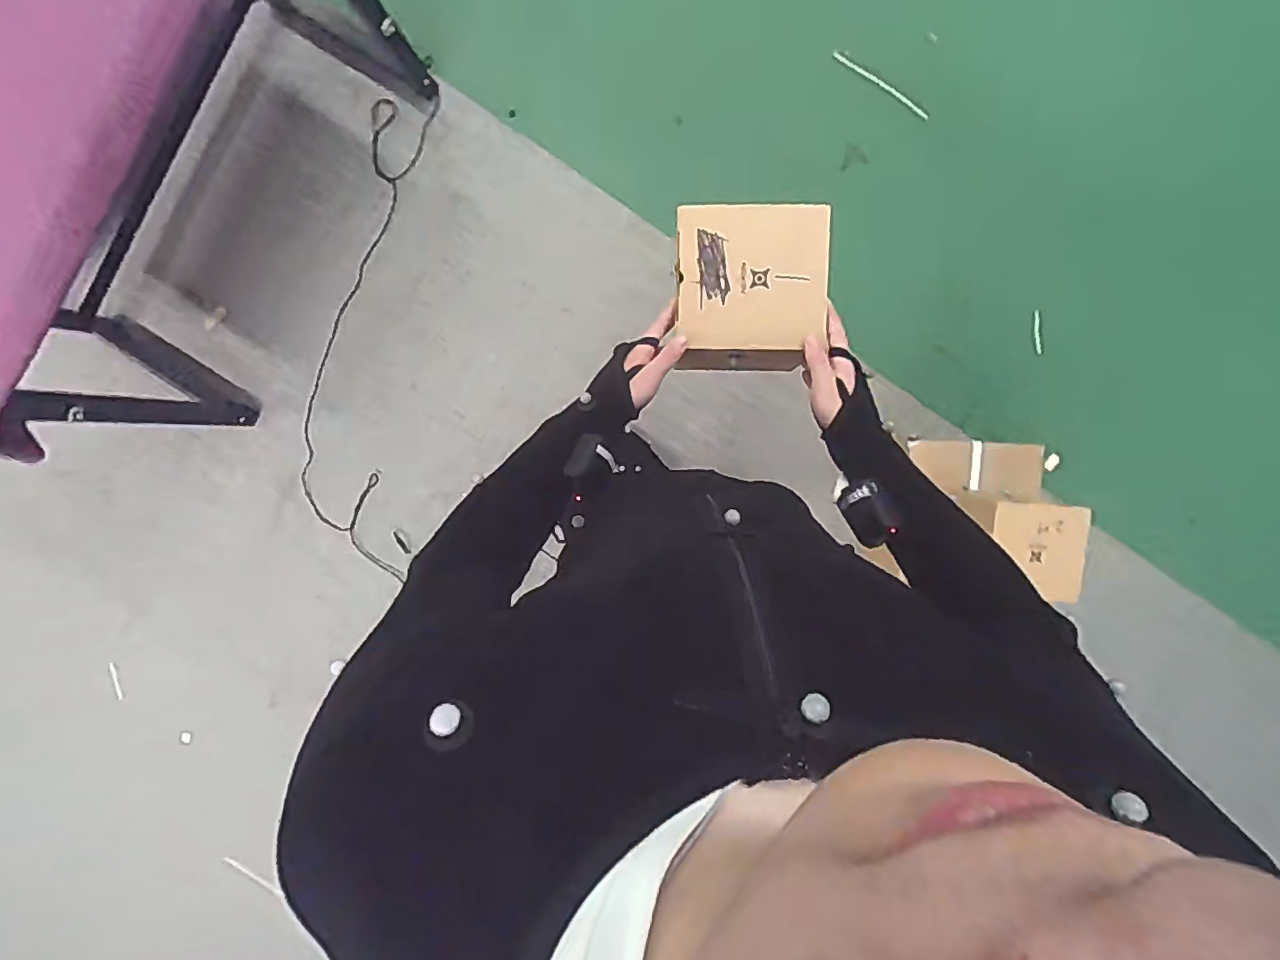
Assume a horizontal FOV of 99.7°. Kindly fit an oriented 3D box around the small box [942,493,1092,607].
[{"bbox_3d":[0.710,0.127,1.041,0.168,0.176,0.179,5,95,2],"label":"small box"}]

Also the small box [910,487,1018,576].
[{"bbox_3d":[0.722,0.114,1.205,0.168,0.176,0.179,3,95,3],"label":"small box"}]

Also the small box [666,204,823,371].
[{"bbox_3d":[0.122,-0.233,0.695,0.179,0.176,0.168,0,93,2],"label":"small box"}]
